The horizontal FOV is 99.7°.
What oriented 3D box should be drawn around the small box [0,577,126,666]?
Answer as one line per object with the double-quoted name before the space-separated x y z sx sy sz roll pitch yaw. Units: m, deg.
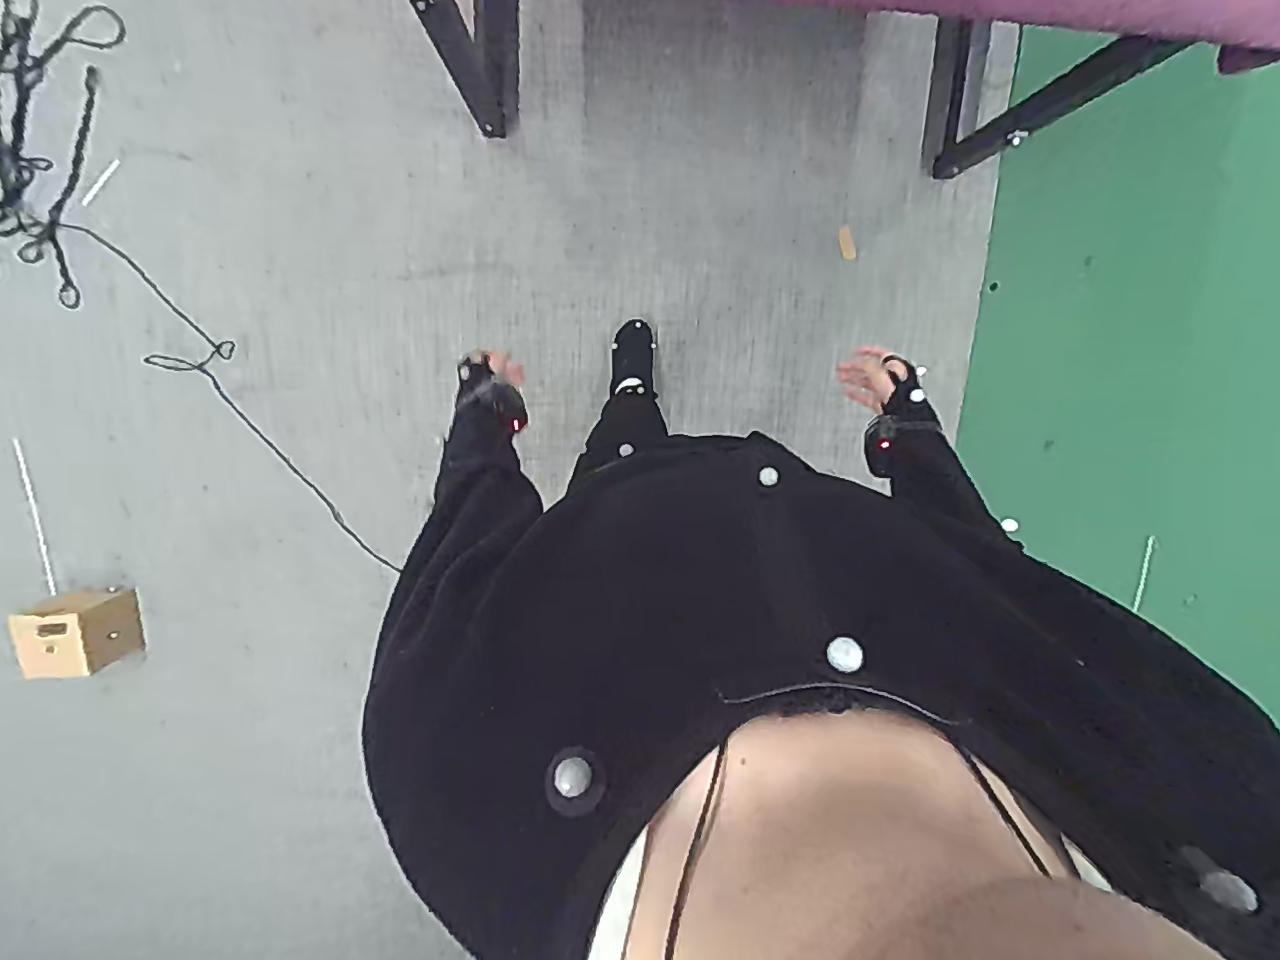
"small box" -1.496 0.361 1.402 0.168 0.176 0.179 2 101 -3
